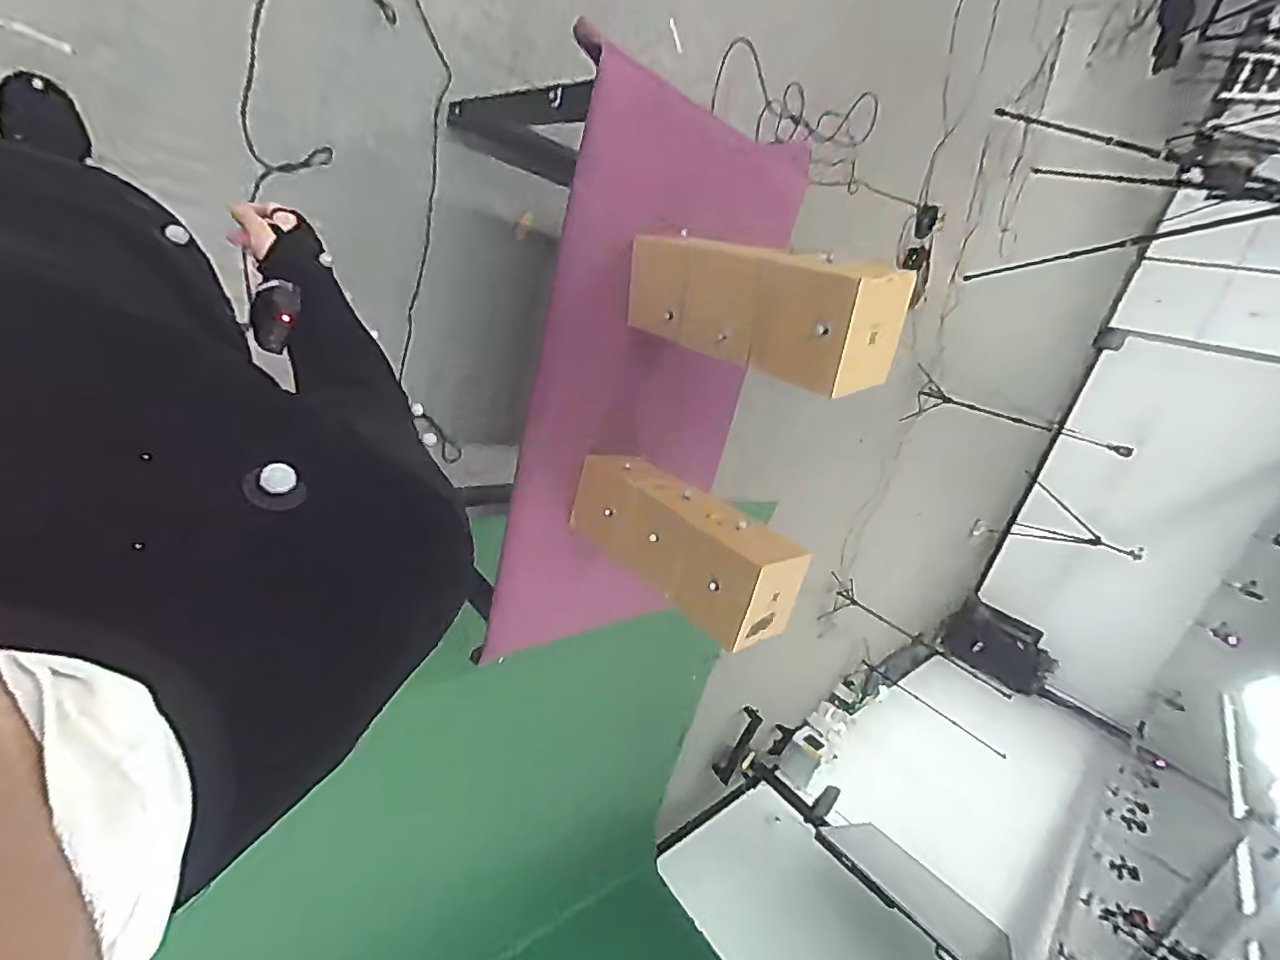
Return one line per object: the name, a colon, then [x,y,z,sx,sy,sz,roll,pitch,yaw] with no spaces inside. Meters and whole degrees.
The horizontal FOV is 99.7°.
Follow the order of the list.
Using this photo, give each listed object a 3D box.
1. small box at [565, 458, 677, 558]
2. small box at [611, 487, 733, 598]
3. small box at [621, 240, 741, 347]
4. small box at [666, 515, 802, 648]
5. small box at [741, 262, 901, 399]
small box: [-0.049,0.057,1.234,0.168,0.176,0.179,0,112,-46]
small box: [0.061,0.119,1.131,0.168,0.176,0.179,-2,113,-44]
small box: [0.077,-0.382,1.099,0.168,0.176,0.179,-19,125,-38]
small box: [0.172,0.183,1.026,0.168,0.176,0.179,-4,114,-44]
small box: [0.287,-0.251,0.885,0.168,0.176,0.179,-20,126,-37]
